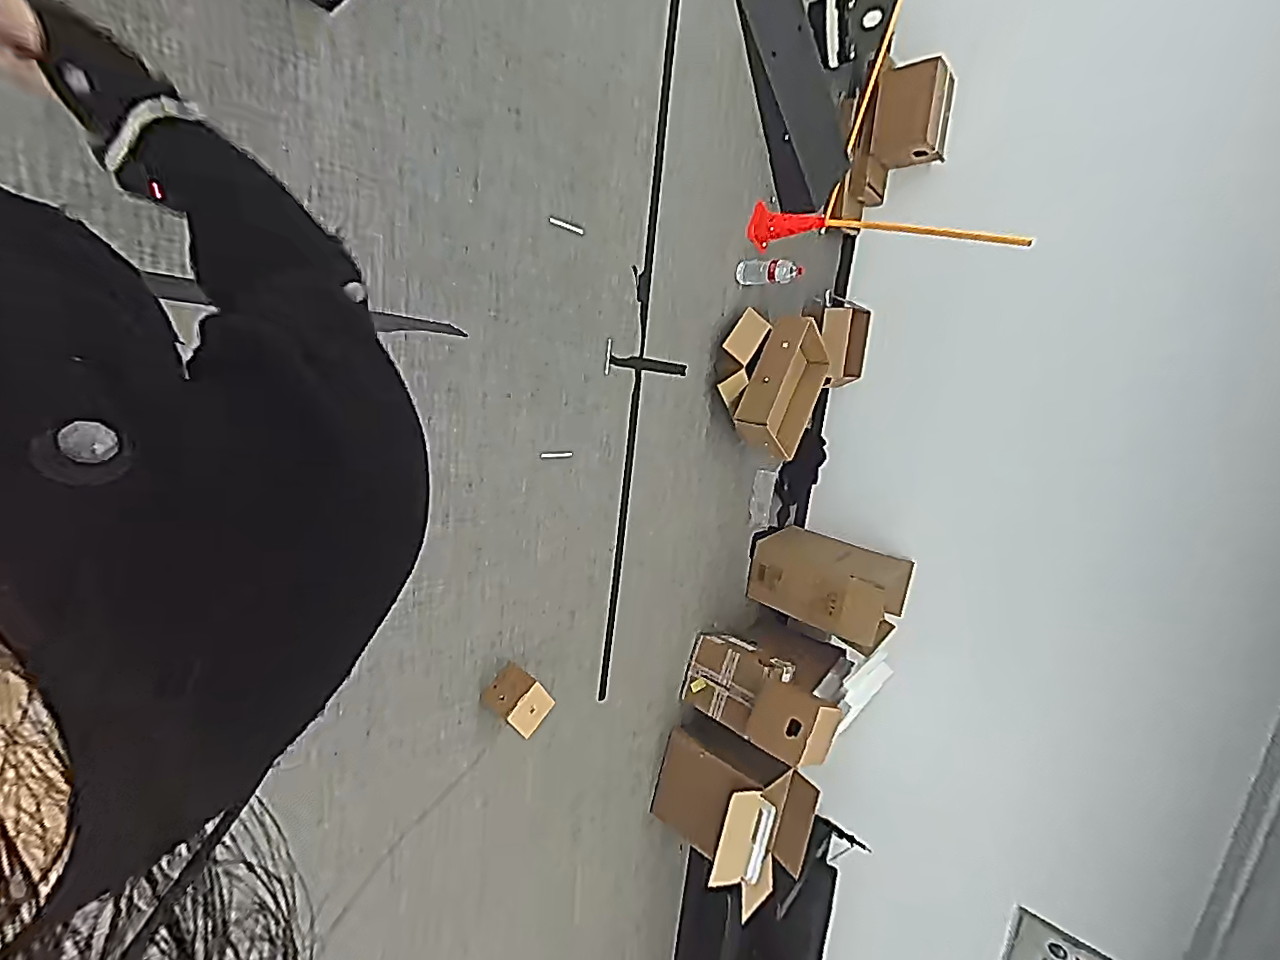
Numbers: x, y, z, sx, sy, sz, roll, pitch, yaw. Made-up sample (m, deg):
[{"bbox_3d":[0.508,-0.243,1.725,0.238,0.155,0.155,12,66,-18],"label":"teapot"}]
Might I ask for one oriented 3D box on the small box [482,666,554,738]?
[{"bbox_3d":[-0.467,0.834,2.050,0.168,0.176,0.179,-48,136,-28],"label":"small box"}]
